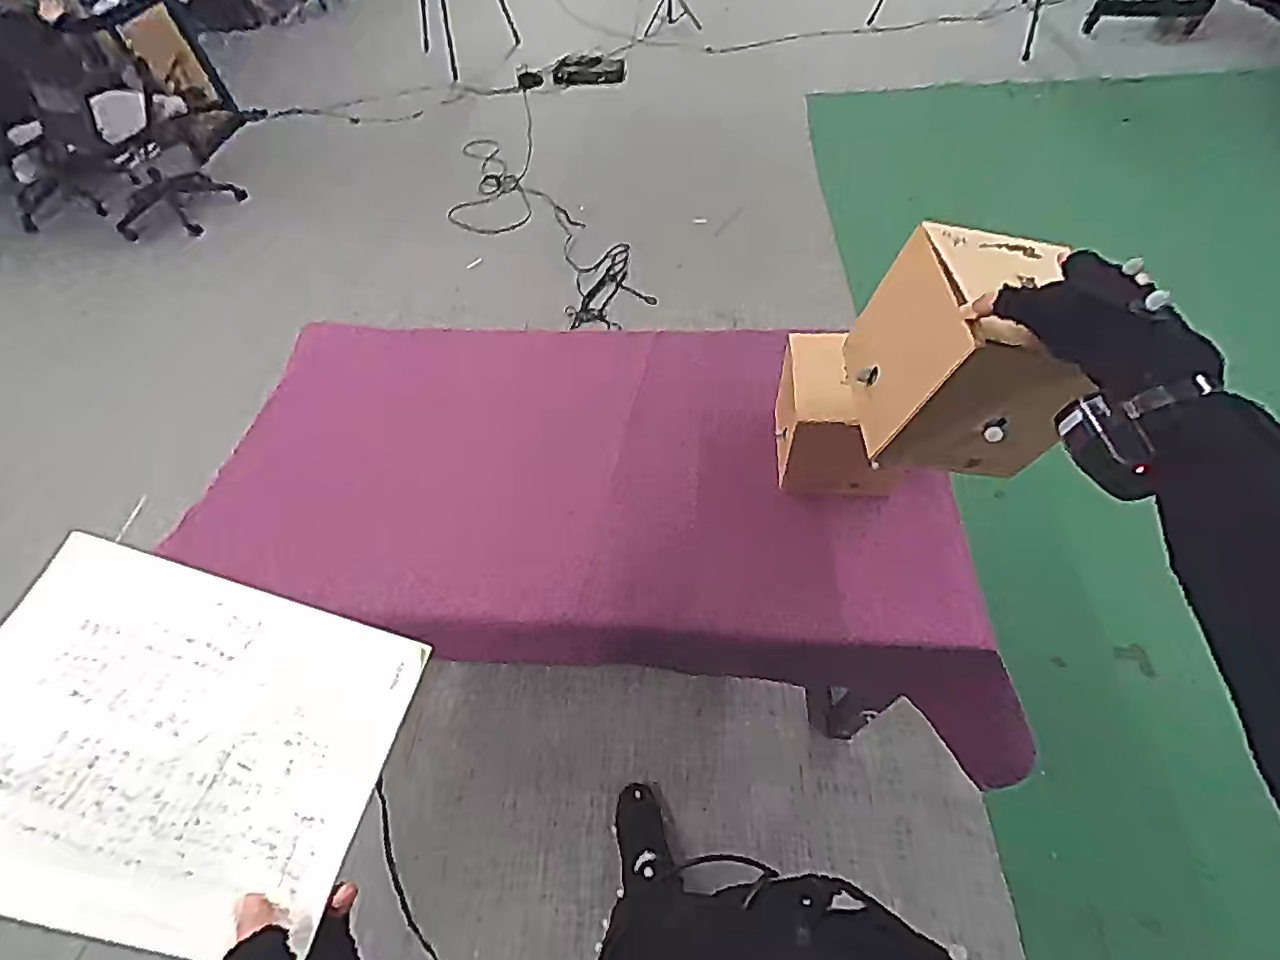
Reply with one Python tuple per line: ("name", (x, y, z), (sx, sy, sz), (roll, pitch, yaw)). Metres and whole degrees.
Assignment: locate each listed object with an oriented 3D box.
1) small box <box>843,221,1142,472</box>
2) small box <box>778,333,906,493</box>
("small box", (0.333, -0.127, 0.557), (0.168, 0.176, 0.179), (8, 56, -7))
("small box", (0.301, -0.096, 0.806), (0.168, 0.176, 0.179), (3, 55, 7))
